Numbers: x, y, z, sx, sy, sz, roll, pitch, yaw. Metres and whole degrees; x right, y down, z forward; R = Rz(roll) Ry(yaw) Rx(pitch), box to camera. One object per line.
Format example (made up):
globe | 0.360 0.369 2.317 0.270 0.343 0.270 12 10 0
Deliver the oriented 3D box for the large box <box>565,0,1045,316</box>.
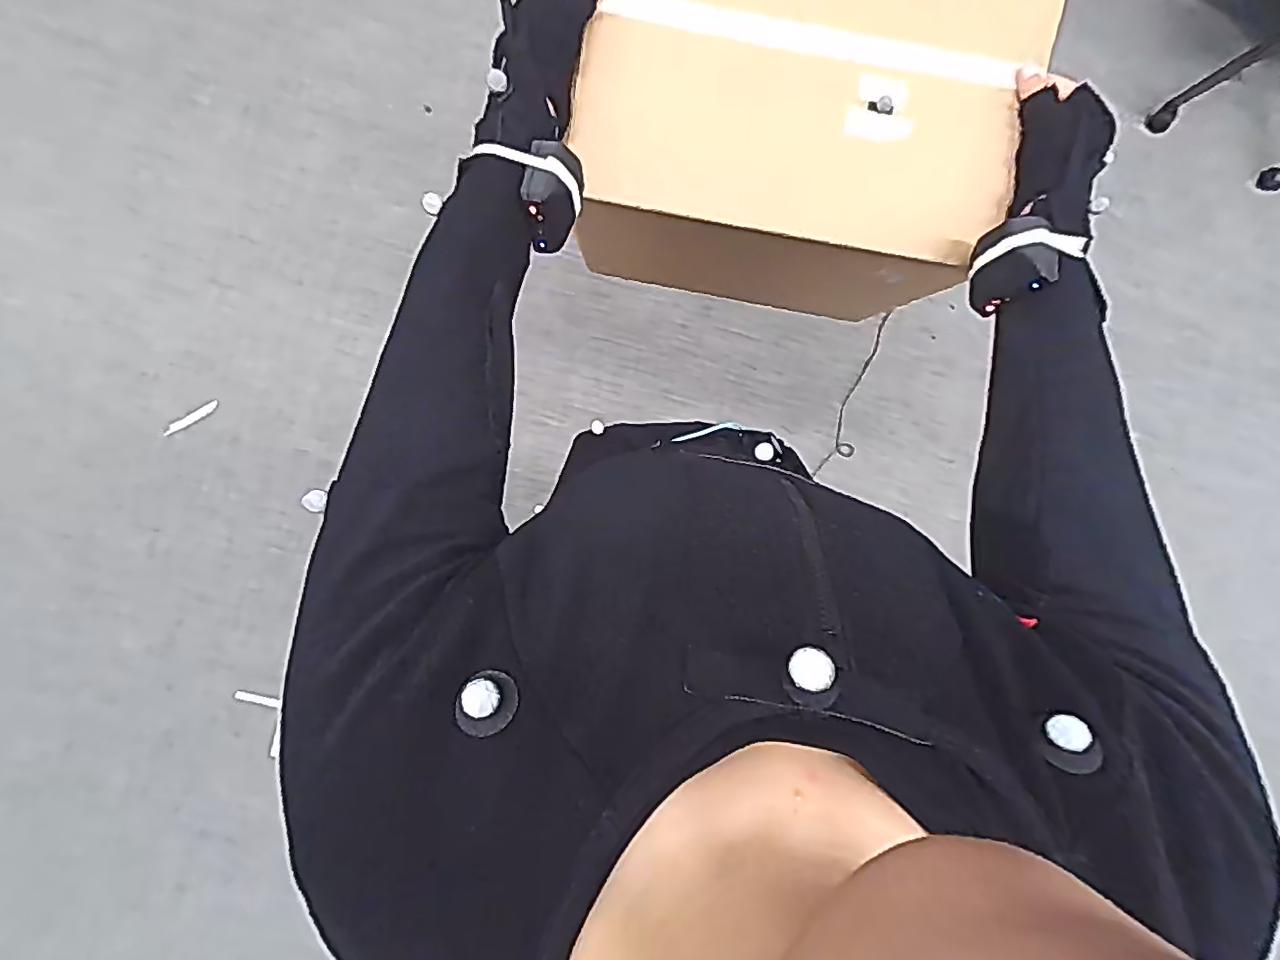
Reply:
large box | 0.144 -0.398 0.627 0.408 0.320 0.320 9 98 -2
